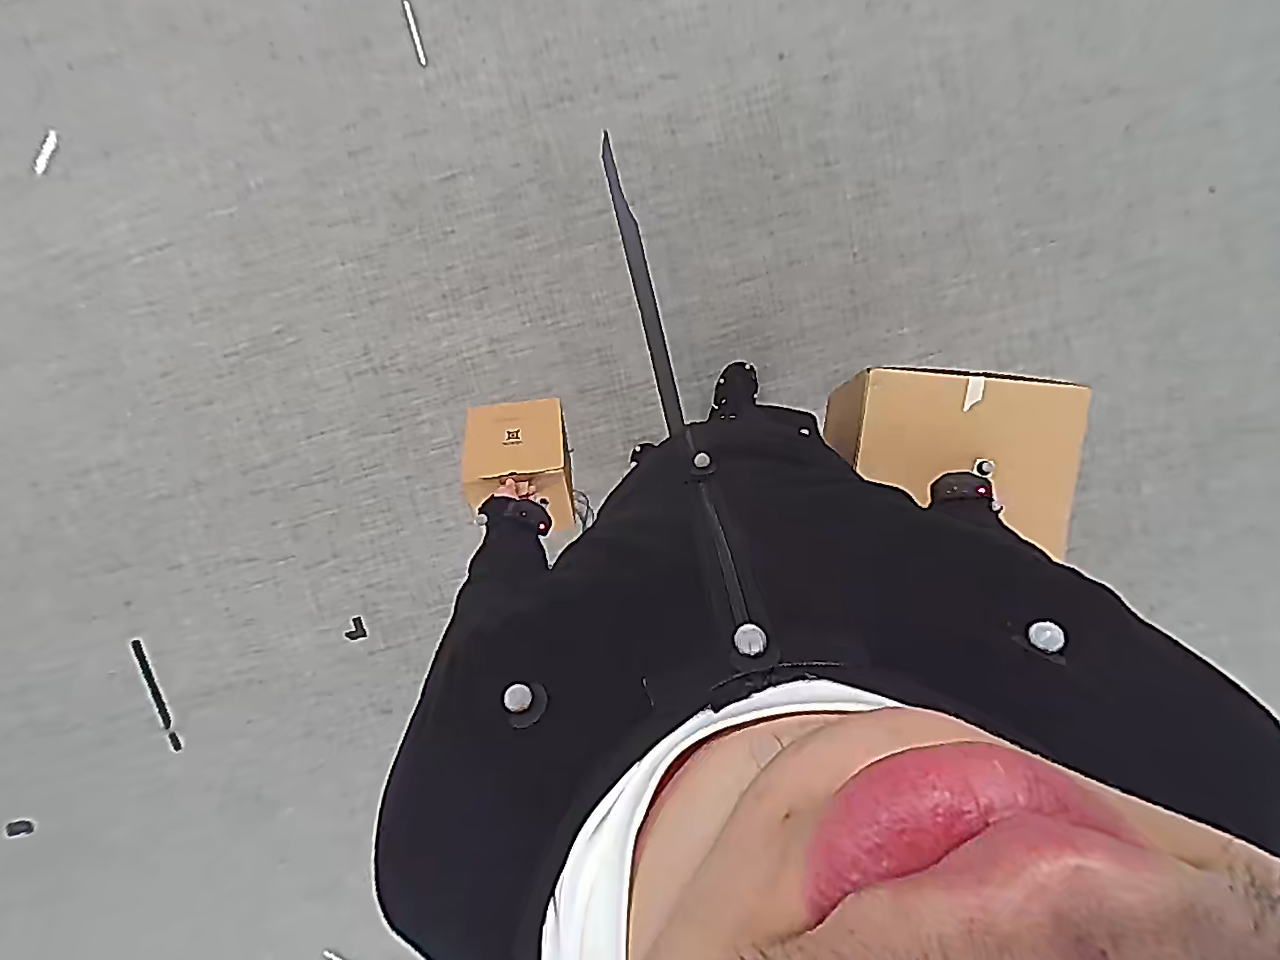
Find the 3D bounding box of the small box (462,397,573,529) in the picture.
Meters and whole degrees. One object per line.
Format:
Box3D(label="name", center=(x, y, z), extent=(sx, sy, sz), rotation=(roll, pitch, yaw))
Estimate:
Box3D(label="small box", center=(-0.214, -0.024, 0.978), extent=(0.168, 0.179, 0.176), rotation=(-6, 141, -6))
